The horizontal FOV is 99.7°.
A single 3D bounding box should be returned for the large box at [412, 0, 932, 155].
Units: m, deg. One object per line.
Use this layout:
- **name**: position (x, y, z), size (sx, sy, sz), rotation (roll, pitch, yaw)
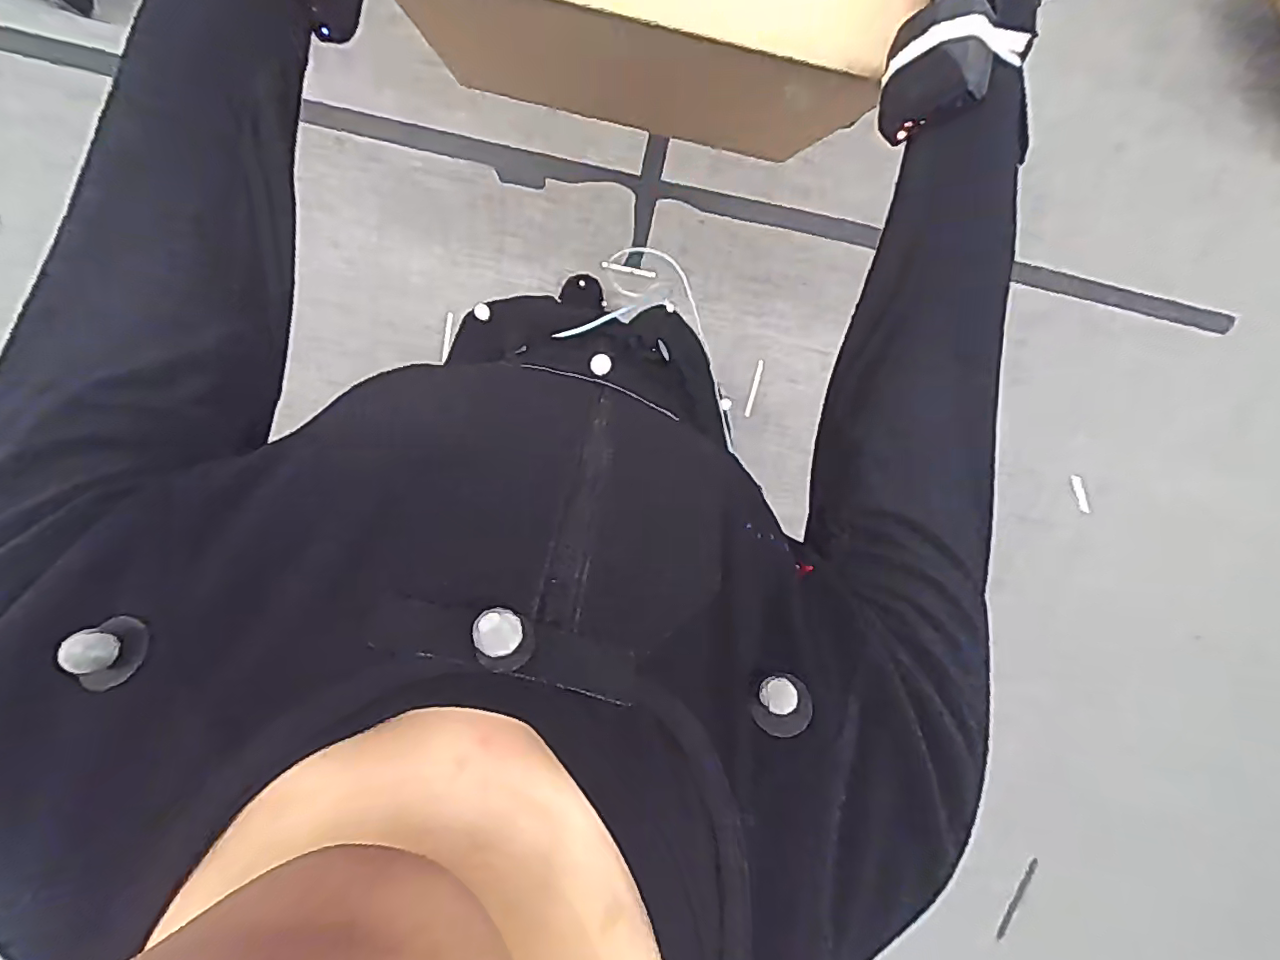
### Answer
- **large box**: position (0.026, -0.523, 0.472), size (0.408, 0.320, 0.320), rotation (9, 112, -8)
